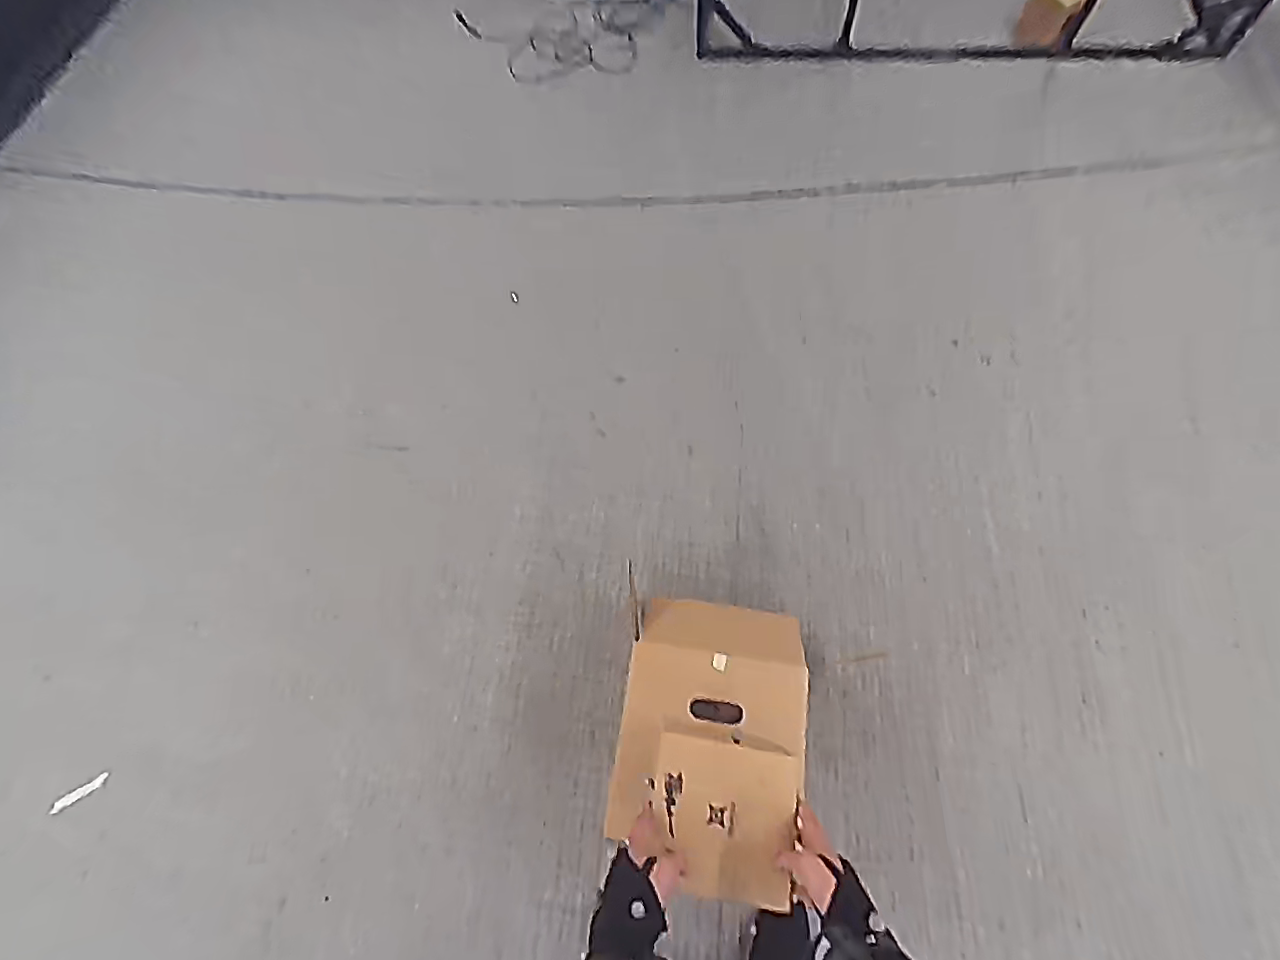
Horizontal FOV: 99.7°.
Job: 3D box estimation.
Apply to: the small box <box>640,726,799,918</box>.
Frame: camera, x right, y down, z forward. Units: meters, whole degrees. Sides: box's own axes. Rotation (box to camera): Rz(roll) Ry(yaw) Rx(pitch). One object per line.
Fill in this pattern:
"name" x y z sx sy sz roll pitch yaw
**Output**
"small box" 0.100 0.442 0.731 0.179 0.176 0.168 9 73 4
